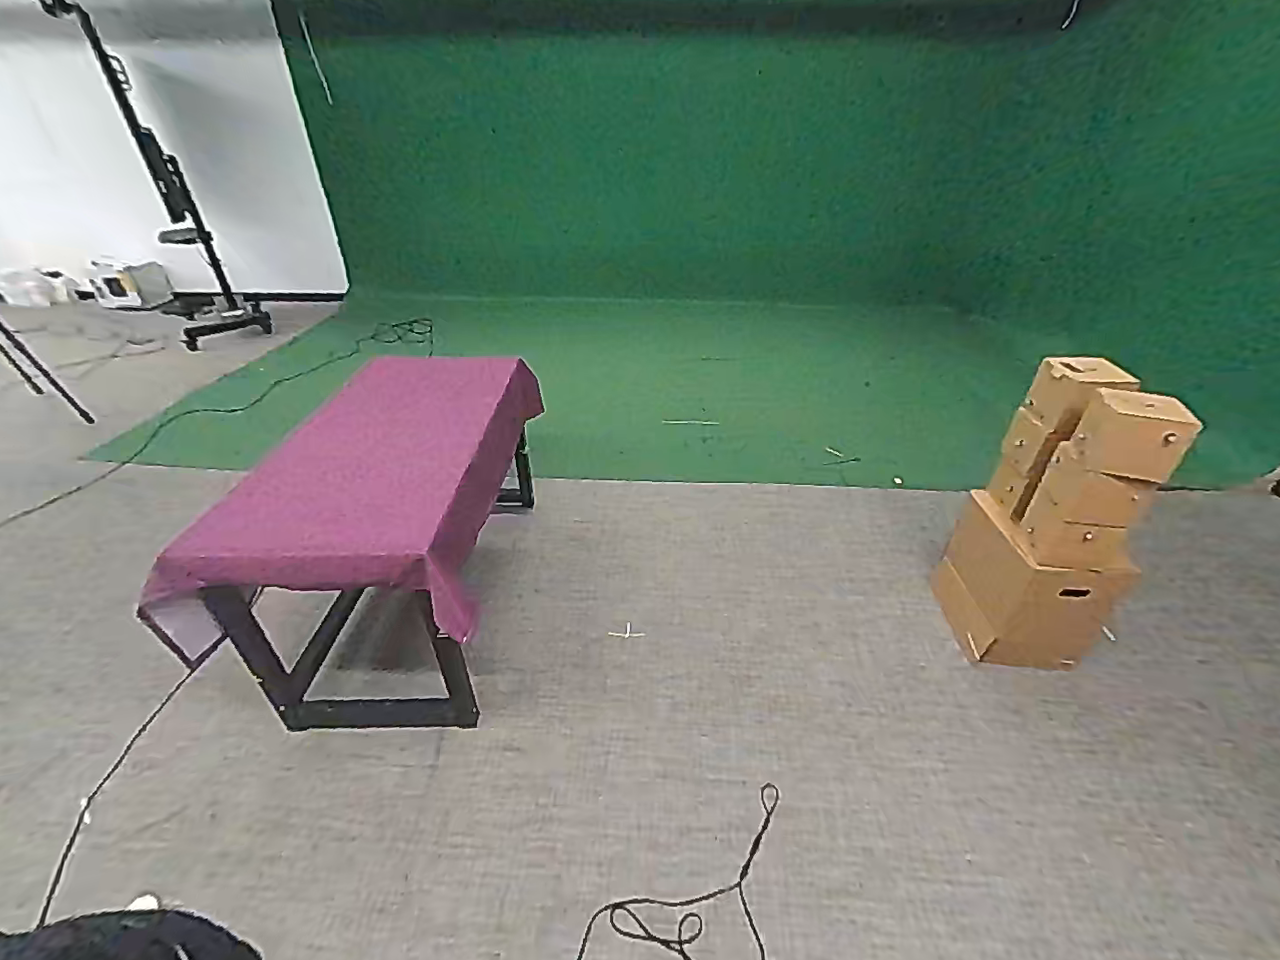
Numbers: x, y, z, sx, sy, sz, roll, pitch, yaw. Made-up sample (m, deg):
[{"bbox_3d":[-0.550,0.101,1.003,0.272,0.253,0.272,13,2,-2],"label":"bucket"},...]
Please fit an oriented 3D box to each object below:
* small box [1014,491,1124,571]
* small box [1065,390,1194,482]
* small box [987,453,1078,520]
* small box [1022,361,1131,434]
[{"bbox_3d":[1.262,0.152,1.605,0.179,0.176,0.168,5,33,8],"label":"small box"},{"bbox_3d":[1.262,-0.114,1.410,0.179,0.176,0.168,12,35,18],"label":"small box"},{"bbox_3d":[1.292,0.025,1.800,0.179,0.176,0.168,2,36,4],"label":"small box"},{"bbox_3d":[1.284,-0.244,1.613,0.179,0.176,0.168,2,36,2],"label":"small box"}]
